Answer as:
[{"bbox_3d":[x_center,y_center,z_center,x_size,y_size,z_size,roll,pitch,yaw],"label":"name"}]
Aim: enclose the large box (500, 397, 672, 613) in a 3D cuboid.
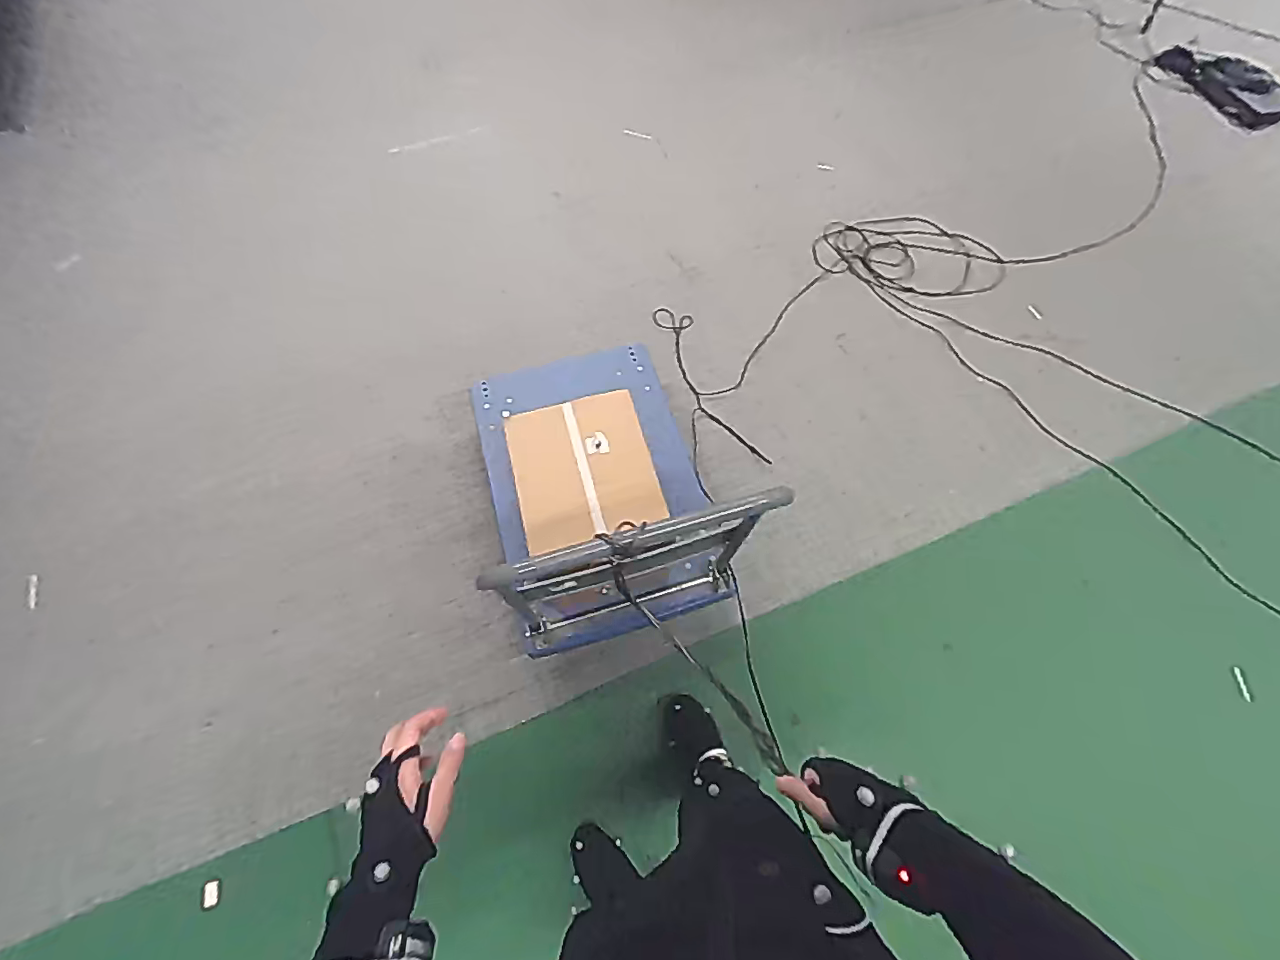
[{"bbox_3d":[-0.131,0.071,1.354,0.320,0.320,0.408,-14,64,-8],"label":"large box"}]
